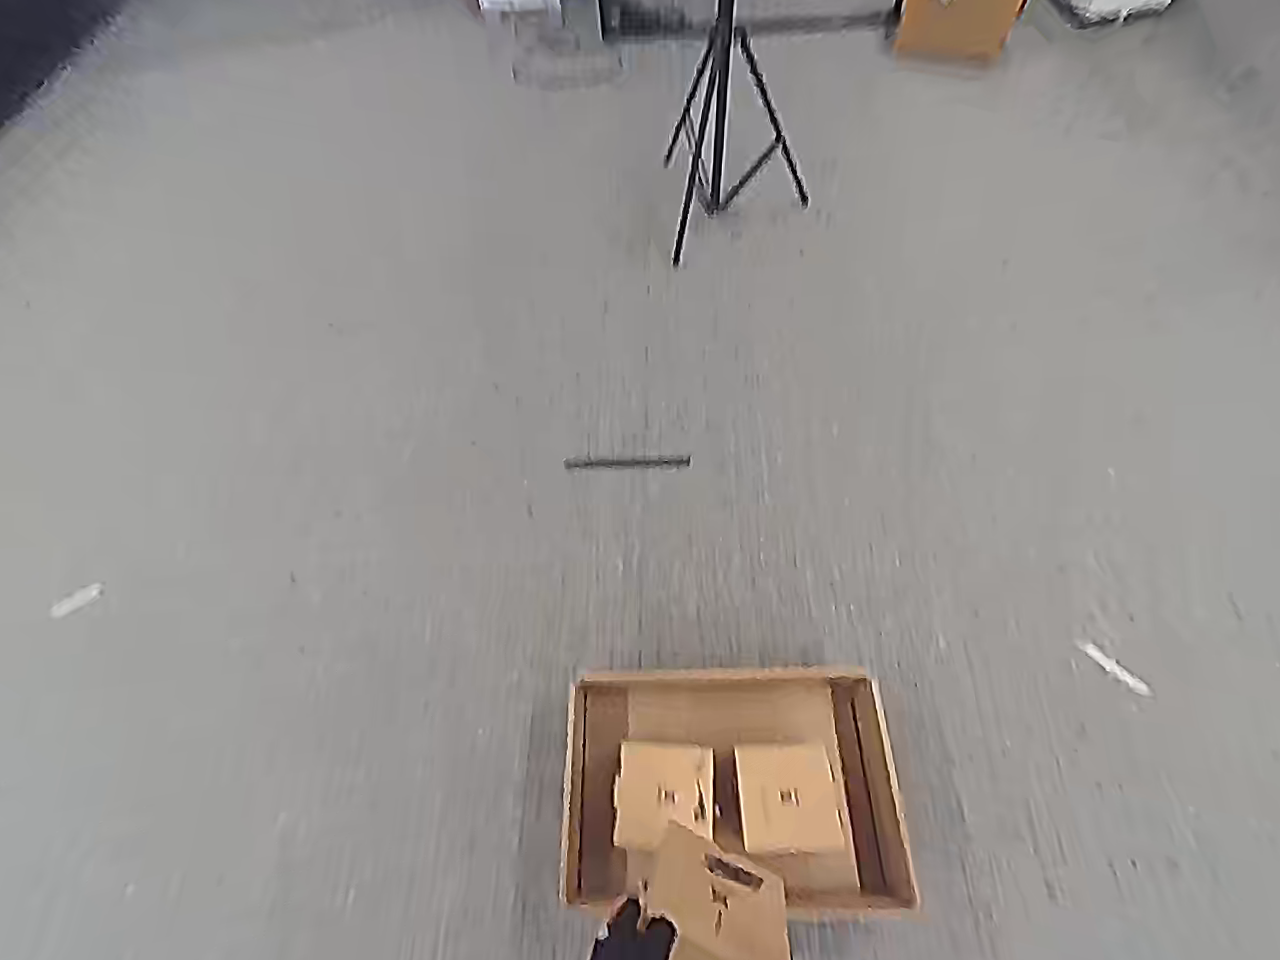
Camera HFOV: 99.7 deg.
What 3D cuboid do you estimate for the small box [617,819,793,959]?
[{"bbox_3d":[0.068,0.560,0.635,0.168,0.179,0.176,22,93,12],"label":"small box"}]

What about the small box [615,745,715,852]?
[{"bbox_3d":[0.053,0.618,1.051,0.179,0.176,0.168,2,62,5],"label":"small box"}]
